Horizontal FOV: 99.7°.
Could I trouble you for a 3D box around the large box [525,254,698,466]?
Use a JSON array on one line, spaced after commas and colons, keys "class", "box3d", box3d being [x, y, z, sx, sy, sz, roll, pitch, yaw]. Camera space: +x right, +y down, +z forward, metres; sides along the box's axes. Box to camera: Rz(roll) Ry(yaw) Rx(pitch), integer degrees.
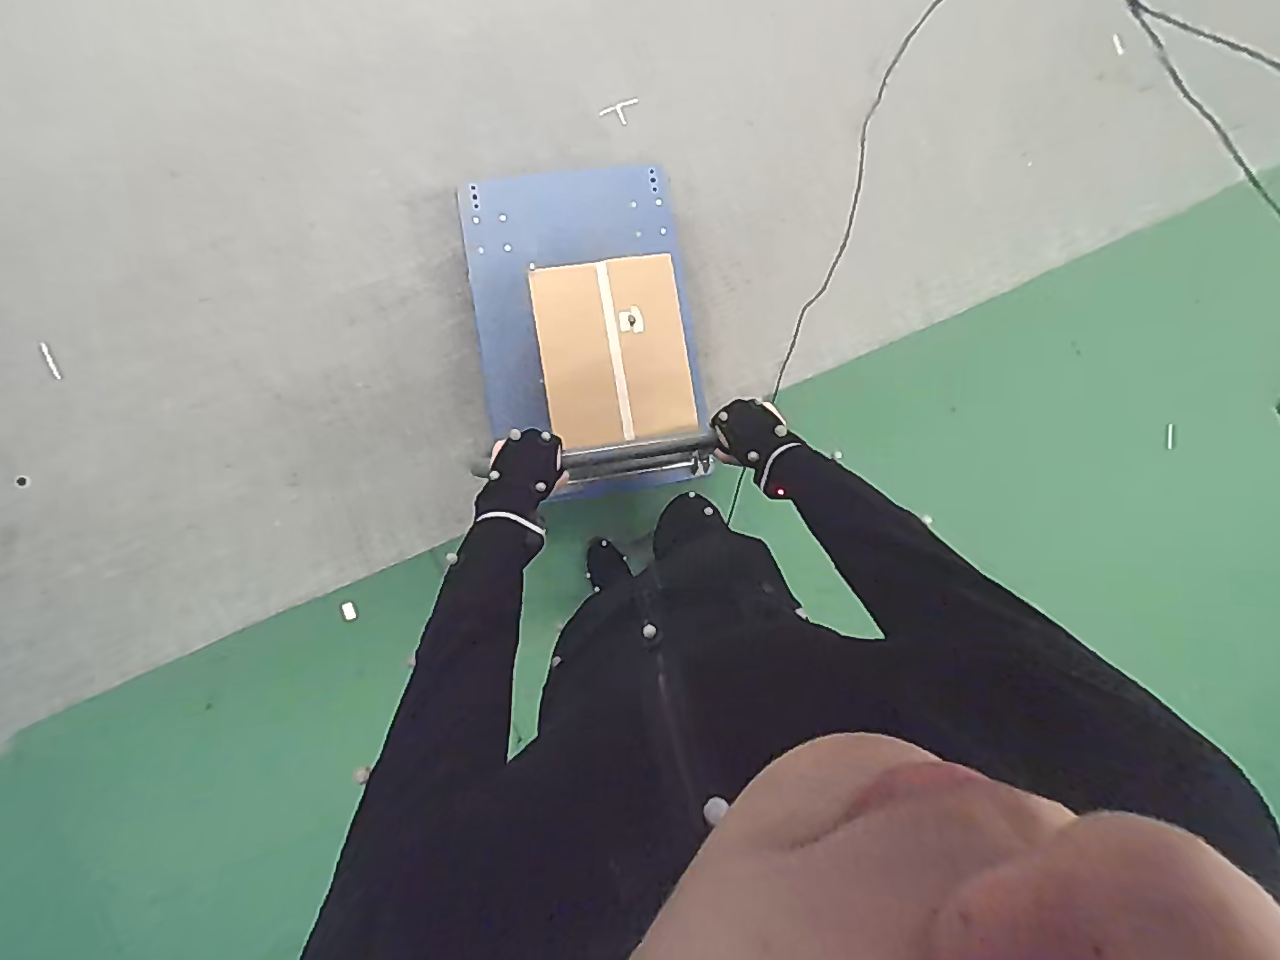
[{"class": "large box", "box3d": [-0.073, -0.265, 1.301, 0.320, 0.320, 0.408, -10, 89, -7]}]
